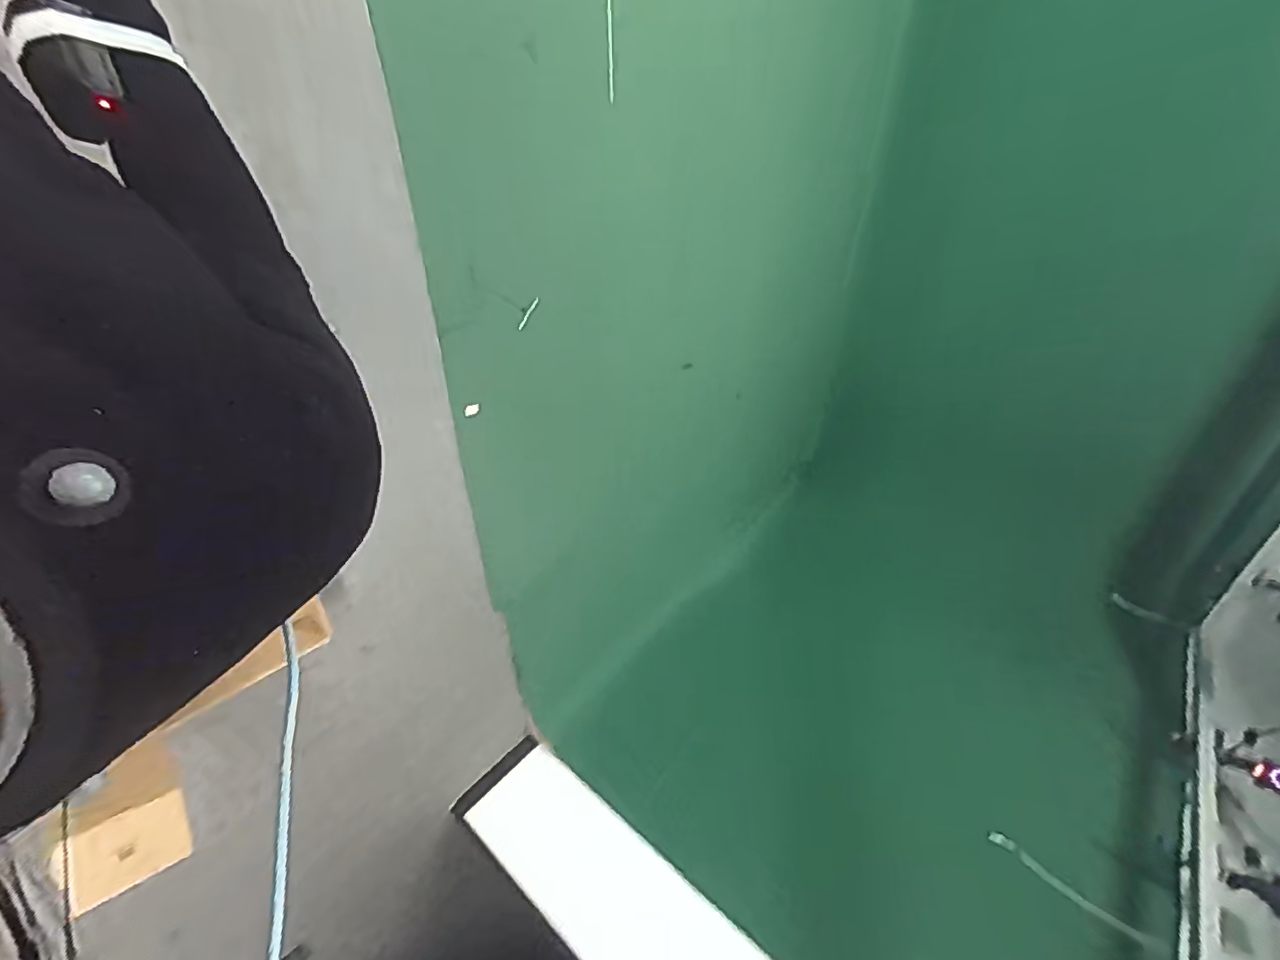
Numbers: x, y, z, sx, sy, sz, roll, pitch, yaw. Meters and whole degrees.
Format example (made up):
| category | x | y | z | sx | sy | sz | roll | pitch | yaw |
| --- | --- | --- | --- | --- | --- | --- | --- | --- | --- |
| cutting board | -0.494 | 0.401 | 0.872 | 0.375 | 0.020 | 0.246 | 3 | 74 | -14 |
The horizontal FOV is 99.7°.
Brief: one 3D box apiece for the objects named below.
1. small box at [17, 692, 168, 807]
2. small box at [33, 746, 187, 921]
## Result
| category | x | y | z | sx | sy | sz | roll | pitch | yaw |
| --- | --- | --- | --- | --- | --- | --- | --- | --- | --- |
| small box | -1.077 | 0.560 | 1.072 | 0.179 | 0.176 | 0.168 | -18 | 124 | -47 |
| small box | -0.956 | 0.619 | 0.979 | 0.168 | 0.176 | 0.179 | -15 | 122 | -48 |
